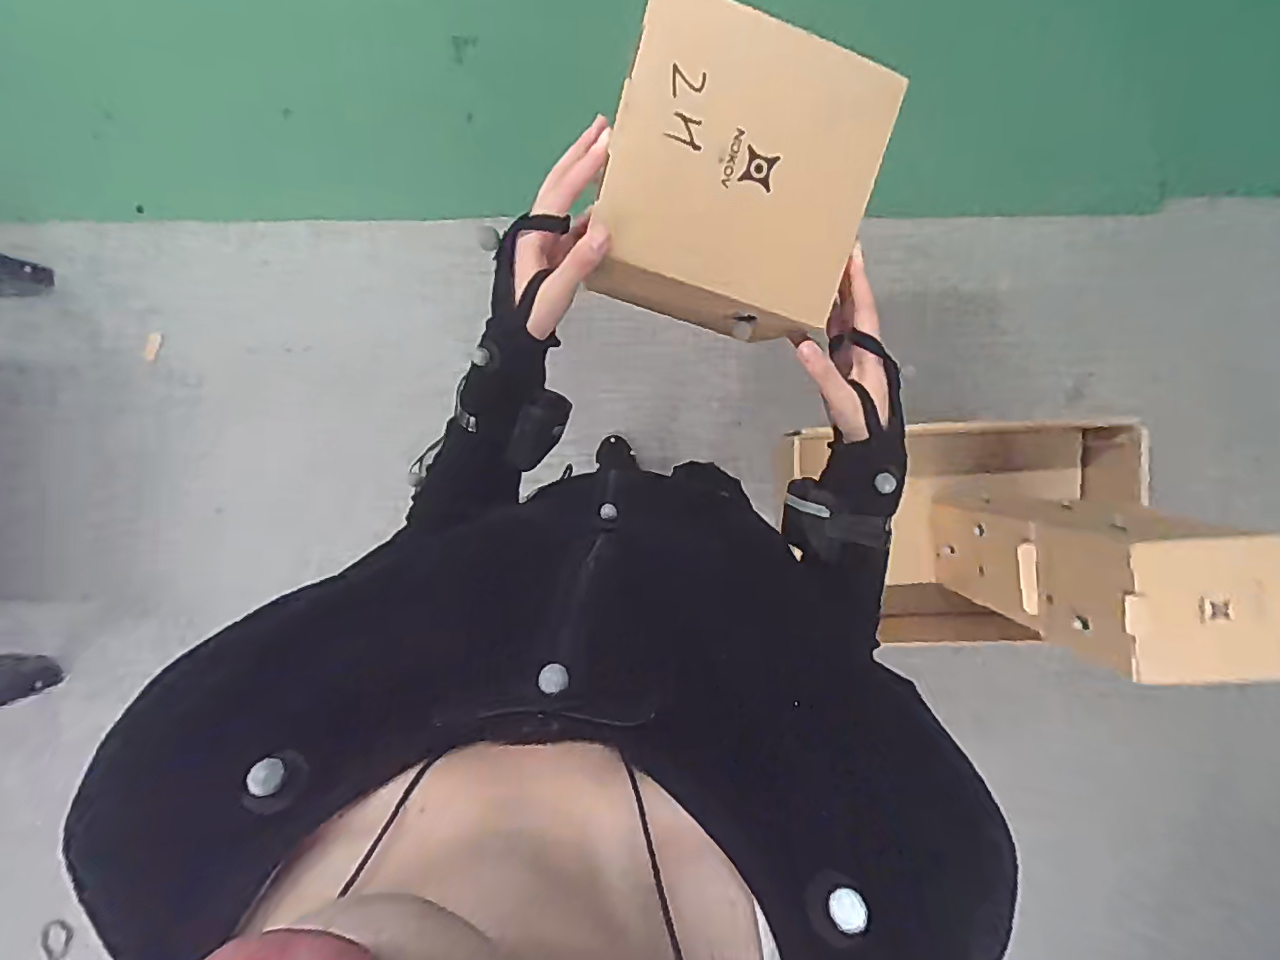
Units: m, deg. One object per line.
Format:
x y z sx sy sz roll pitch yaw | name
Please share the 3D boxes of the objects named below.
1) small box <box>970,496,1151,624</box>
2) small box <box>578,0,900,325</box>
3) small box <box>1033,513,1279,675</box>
0.649 0.119 0.853 0.179 0.176 0.168 -6 93 3 | small box
0.057 -0.227 0.426 0.179 0.176 0.168 15 99 -8 | small box
0.640 0.136 0.691 0.179 0.176 0.168 -3 94 4 | small box
